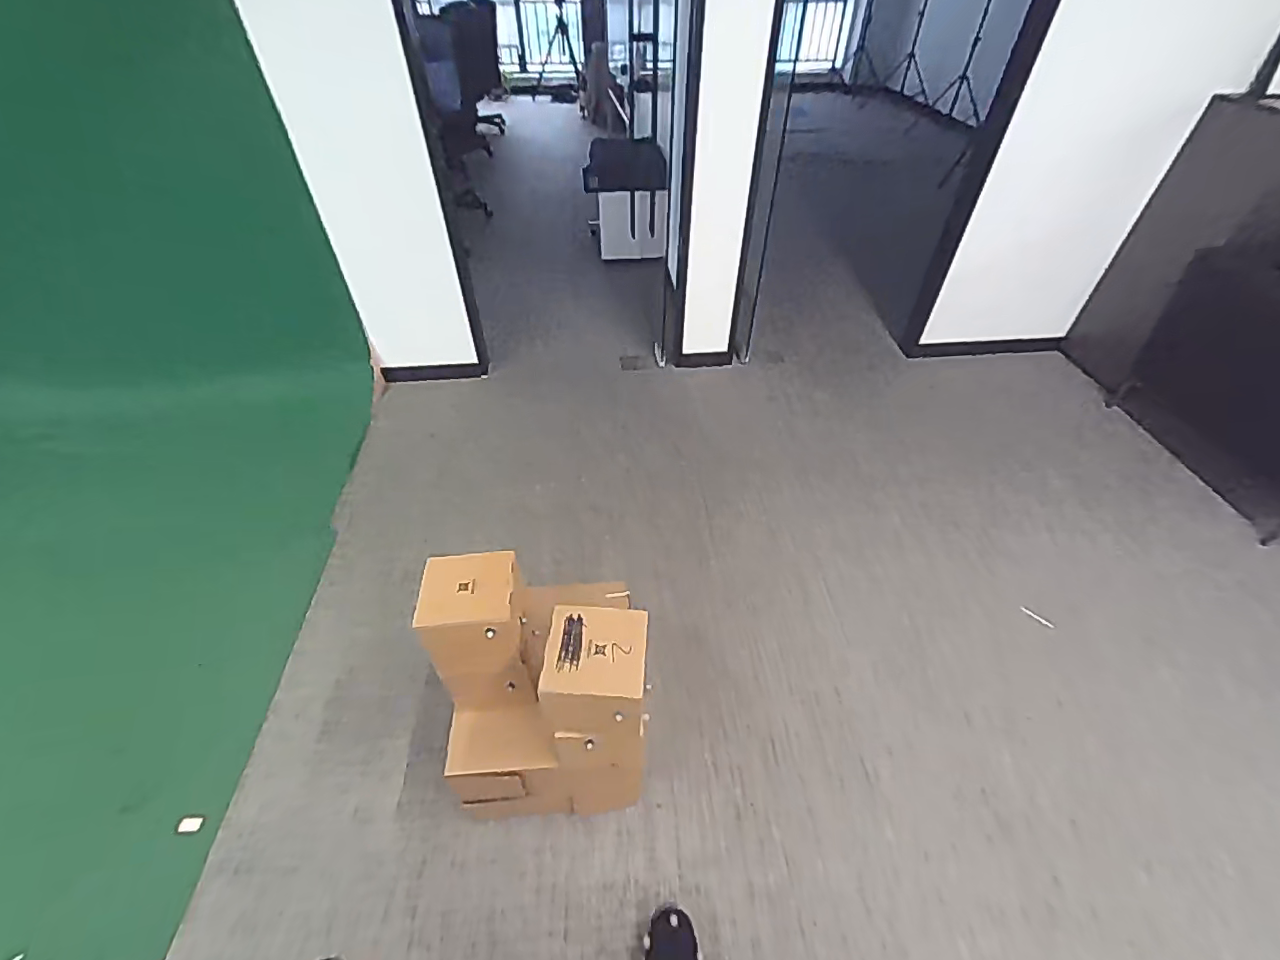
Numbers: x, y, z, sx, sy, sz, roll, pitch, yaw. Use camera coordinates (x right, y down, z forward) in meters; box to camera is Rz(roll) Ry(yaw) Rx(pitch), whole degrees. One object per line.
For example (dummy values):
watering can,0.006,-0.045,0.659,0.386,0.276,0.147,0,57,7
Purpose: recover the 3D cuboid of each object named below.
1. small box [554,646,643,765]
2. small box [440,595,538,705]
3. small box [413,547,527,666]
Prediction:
small box,-0.079,0.463,1.110,0.168,0.176,0.179,0,43,-1
small box,-0.323,0.378,1.200,0.179,0.176,0.168,-5,43,-5
small box,-0.331,0.258,1.090,0.179,0.176,0.168,-4,43,-5
